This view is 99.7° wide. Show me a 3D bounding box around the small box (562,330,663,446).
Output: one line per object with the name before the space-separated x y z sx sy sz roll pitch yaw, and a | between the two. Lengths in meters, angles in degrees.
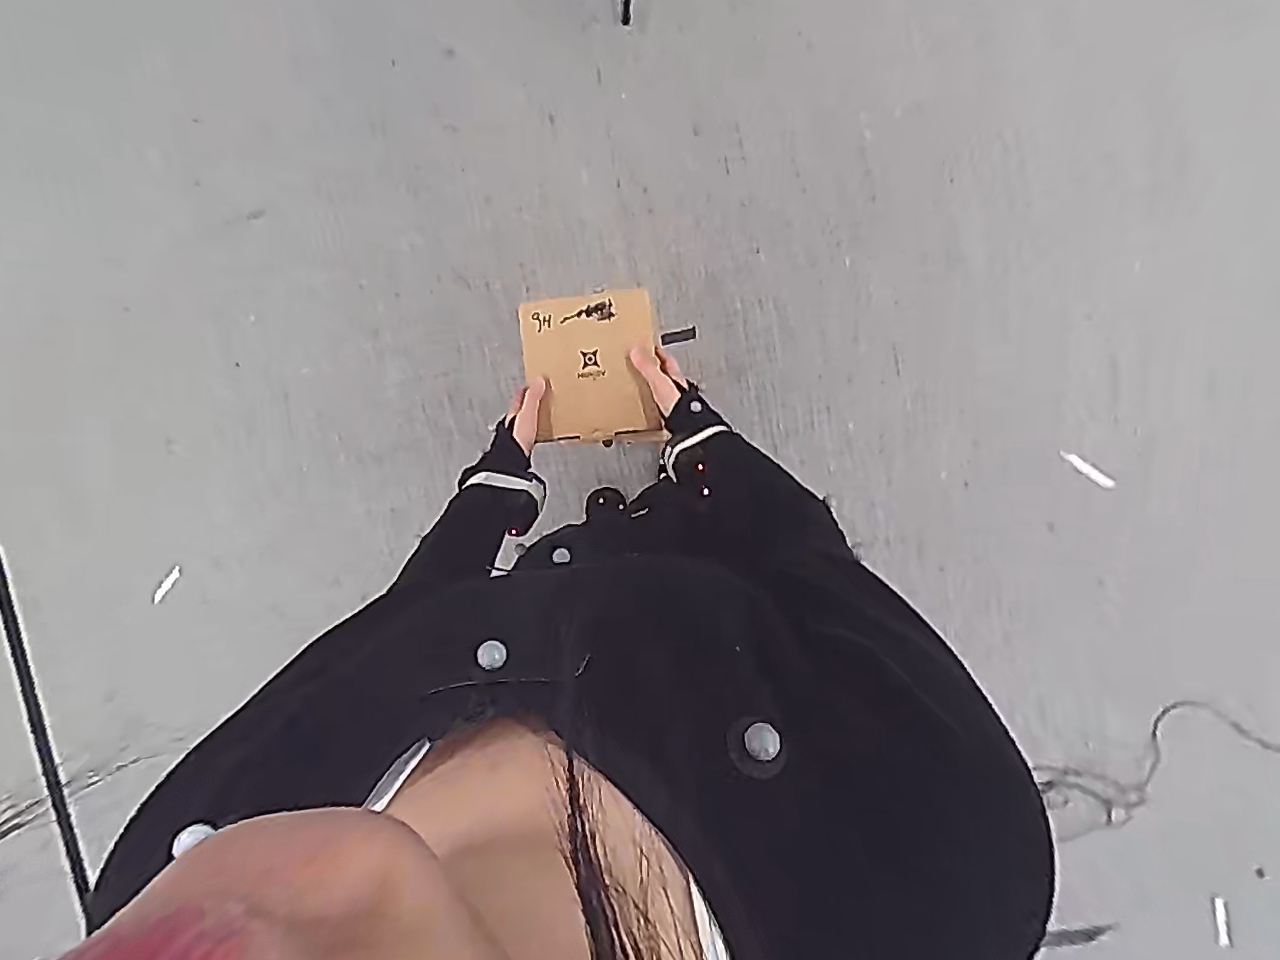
small box | -0.047 -0.150 0.919 0.168 0.176 0.179 -3 96 5

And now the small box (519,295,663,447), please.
small box | -0.058 -0.145 0.755 0.168 0.176 0.179 -5 96 4
